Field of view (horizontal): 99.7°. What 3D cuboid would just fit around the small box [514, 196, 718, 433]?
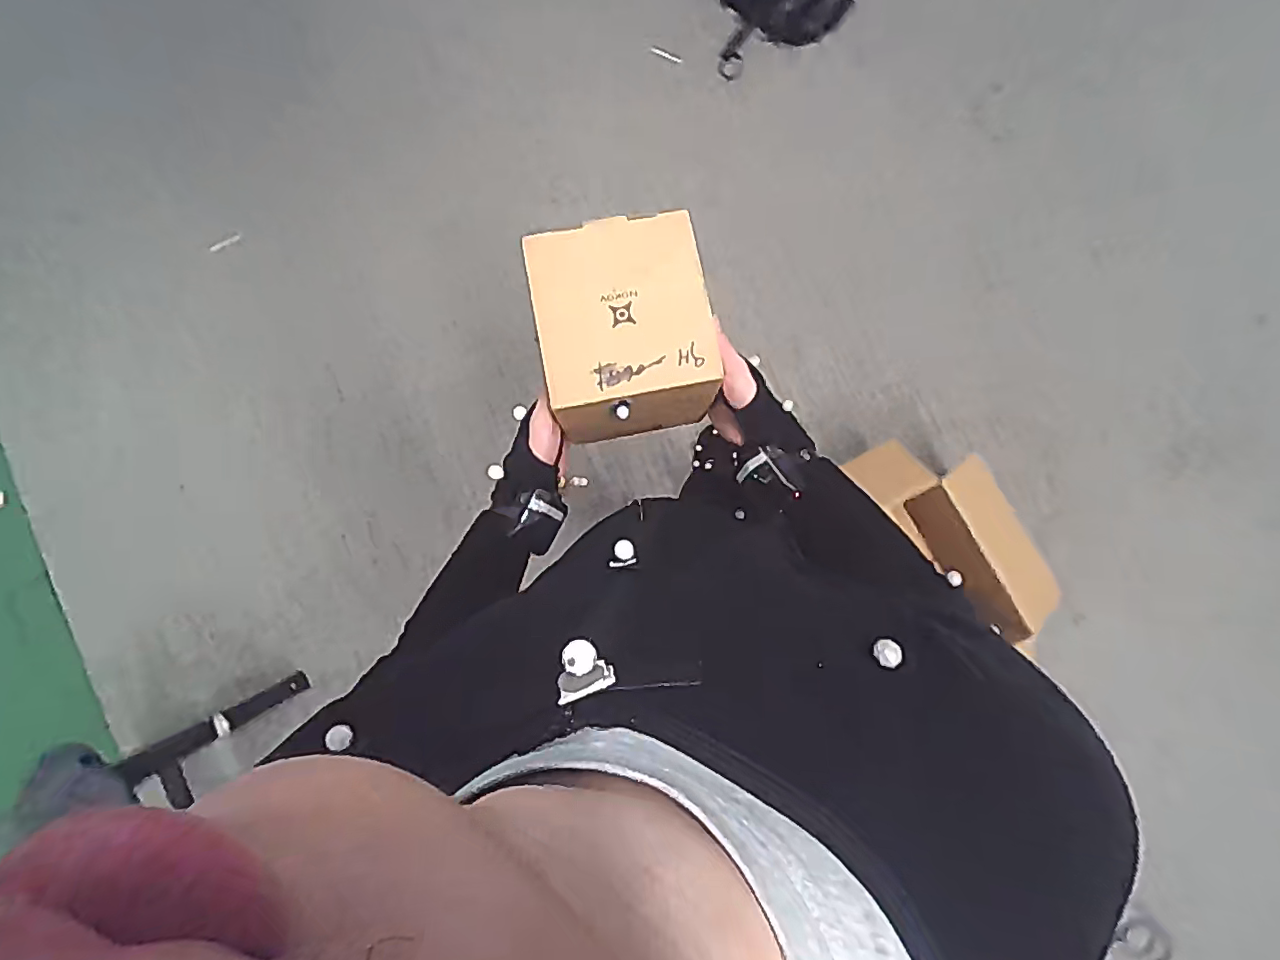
[{"bbox_3d":[-0.026,-0.164,0.585,0.168,0.176,0.179,-12,84,-2],"label":"small box"}]
